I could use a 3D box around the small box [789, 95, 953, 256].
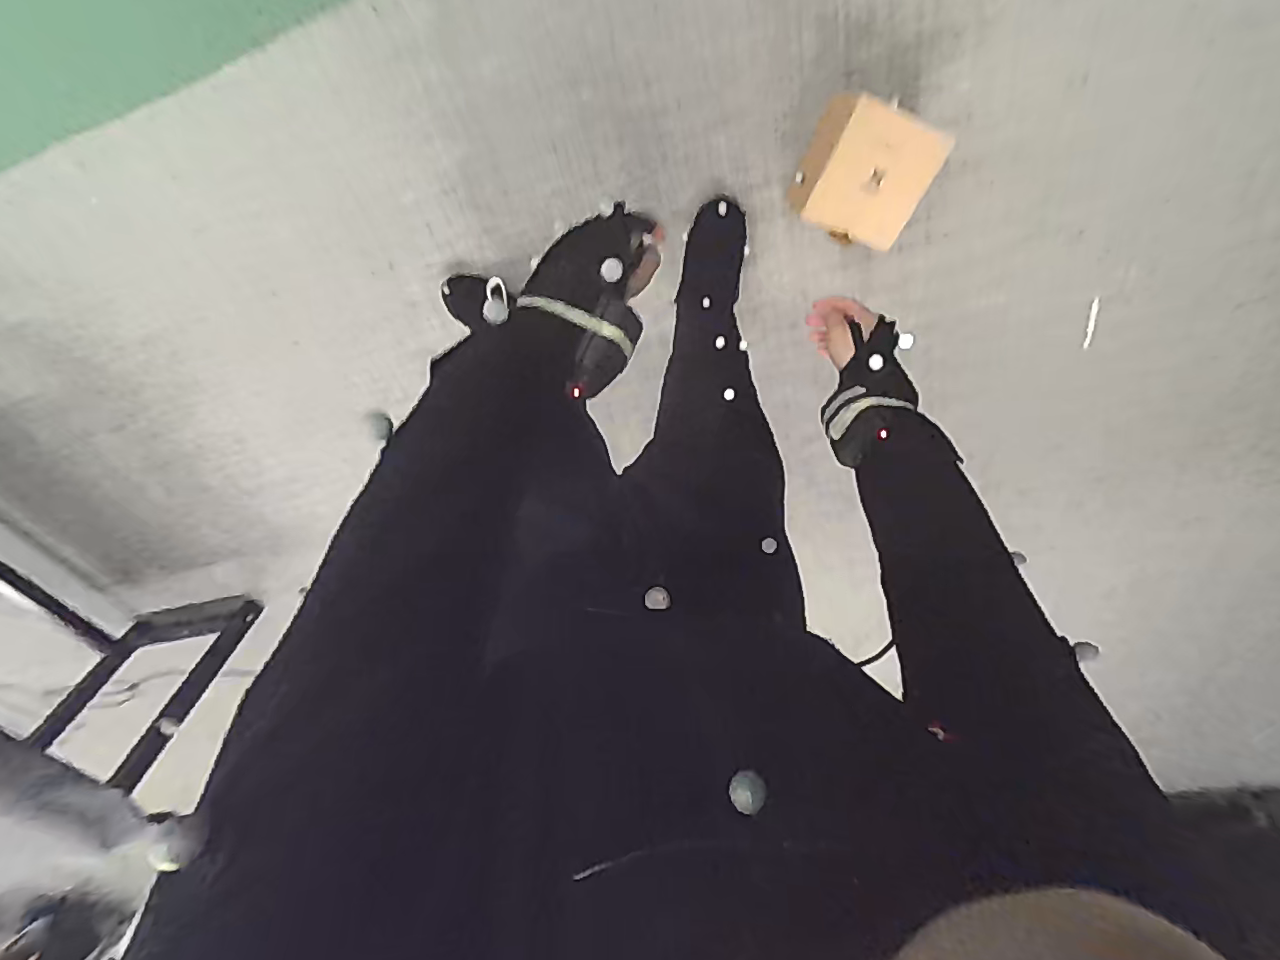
[{"bbox_3d":[0.363,-0.505,0.894,0.168,0.176,0.179,16,126,-10],"label":"small box"}]
